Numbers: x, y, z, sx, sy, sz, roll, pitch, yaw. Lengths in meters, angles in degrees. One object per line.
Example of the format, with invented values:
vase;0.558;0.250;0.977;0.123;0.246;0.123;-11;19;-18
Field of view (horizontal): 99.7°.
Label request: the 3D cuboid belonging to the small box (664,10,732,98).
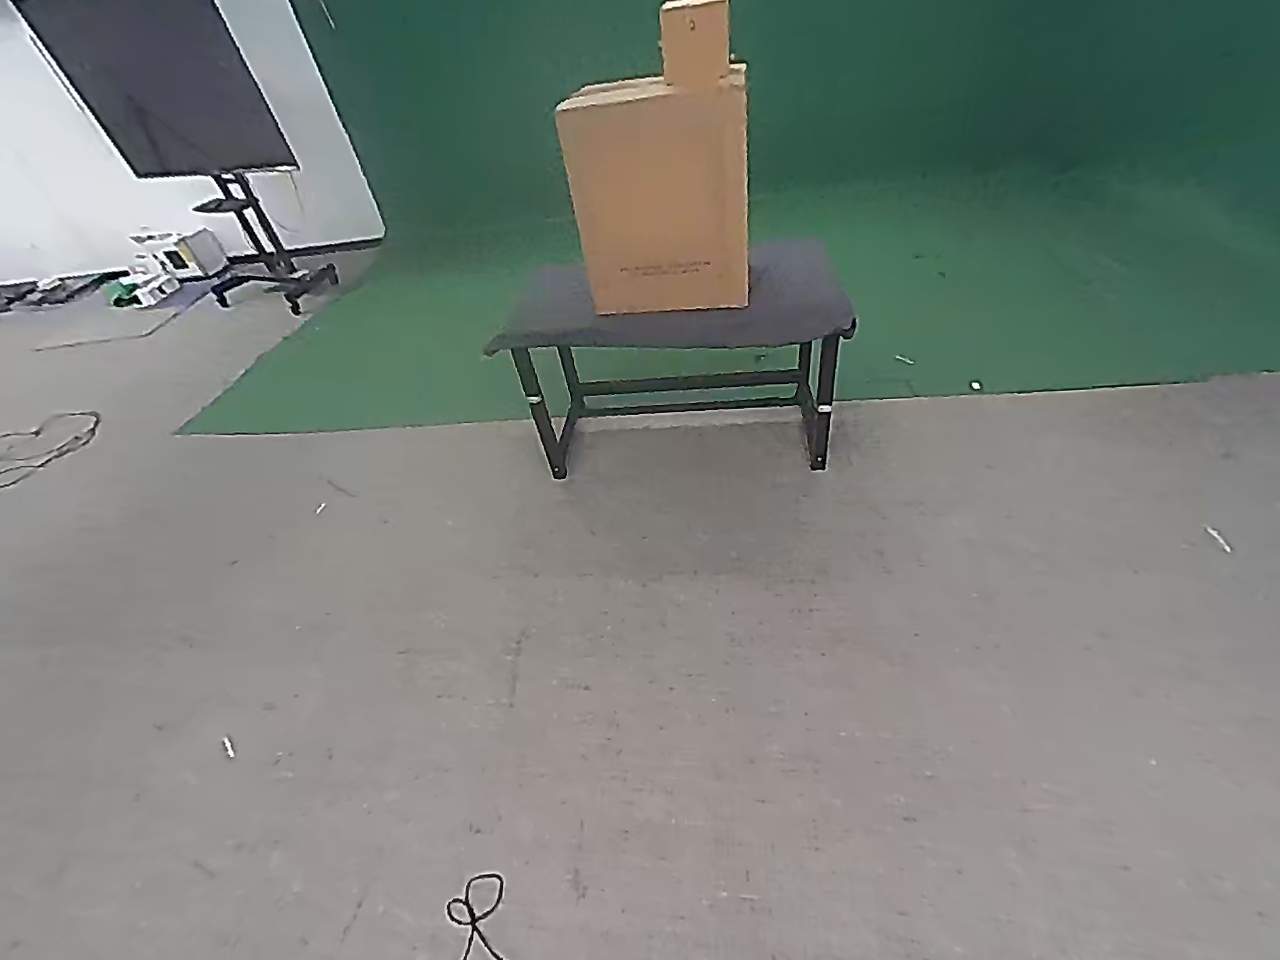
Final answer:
small box;0.168;-1.199;1.525;0.179;0.176;0.168;2;46;10
